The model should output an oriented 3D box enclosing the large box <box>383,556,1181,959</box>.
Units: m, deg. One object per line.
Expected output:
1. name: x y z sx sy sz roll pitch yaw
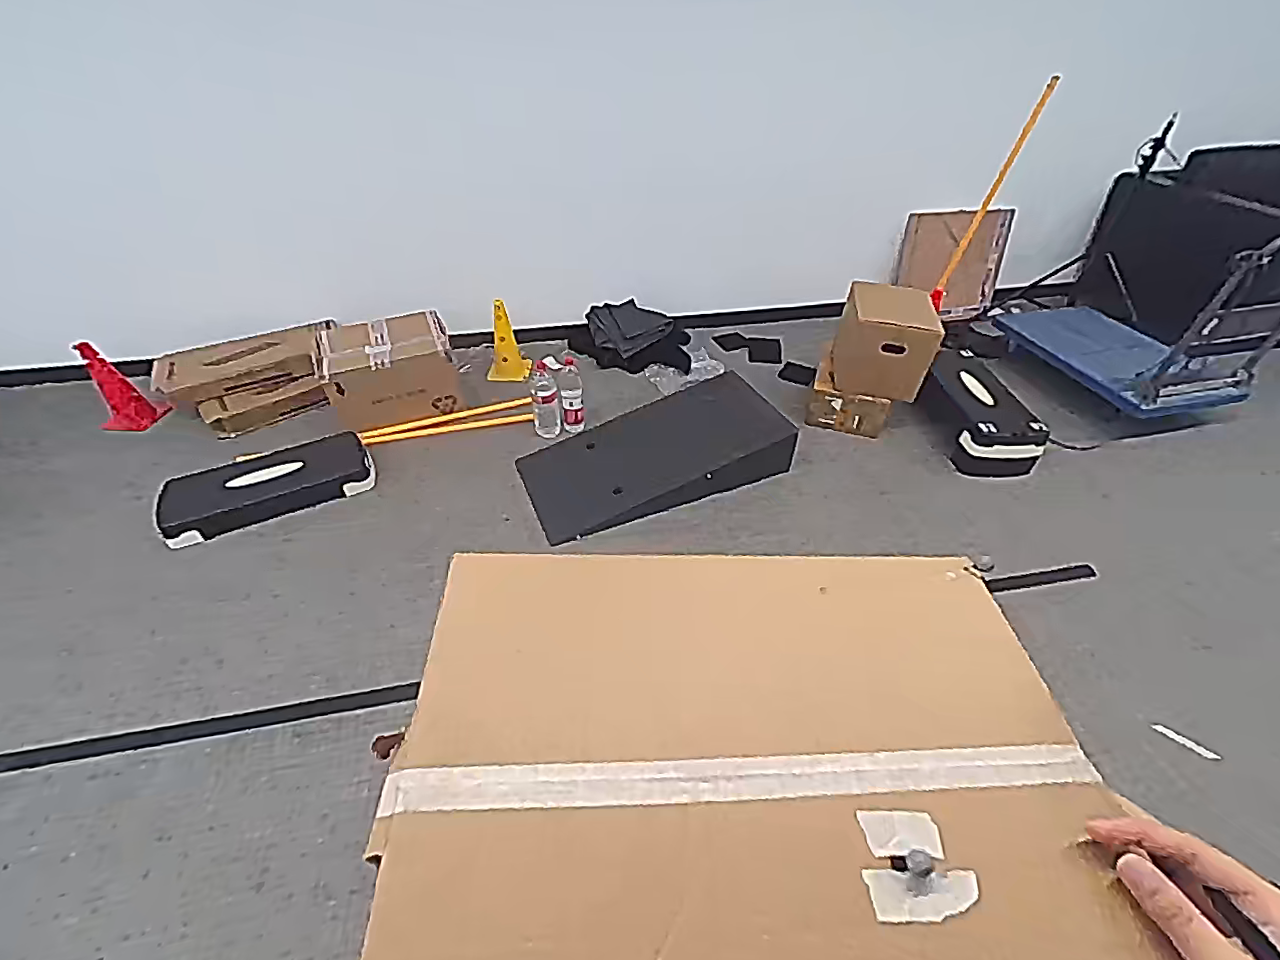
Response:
1. large box: 0.056 0.275 0.427 0.408 0.320 0.320 2 47 -6
